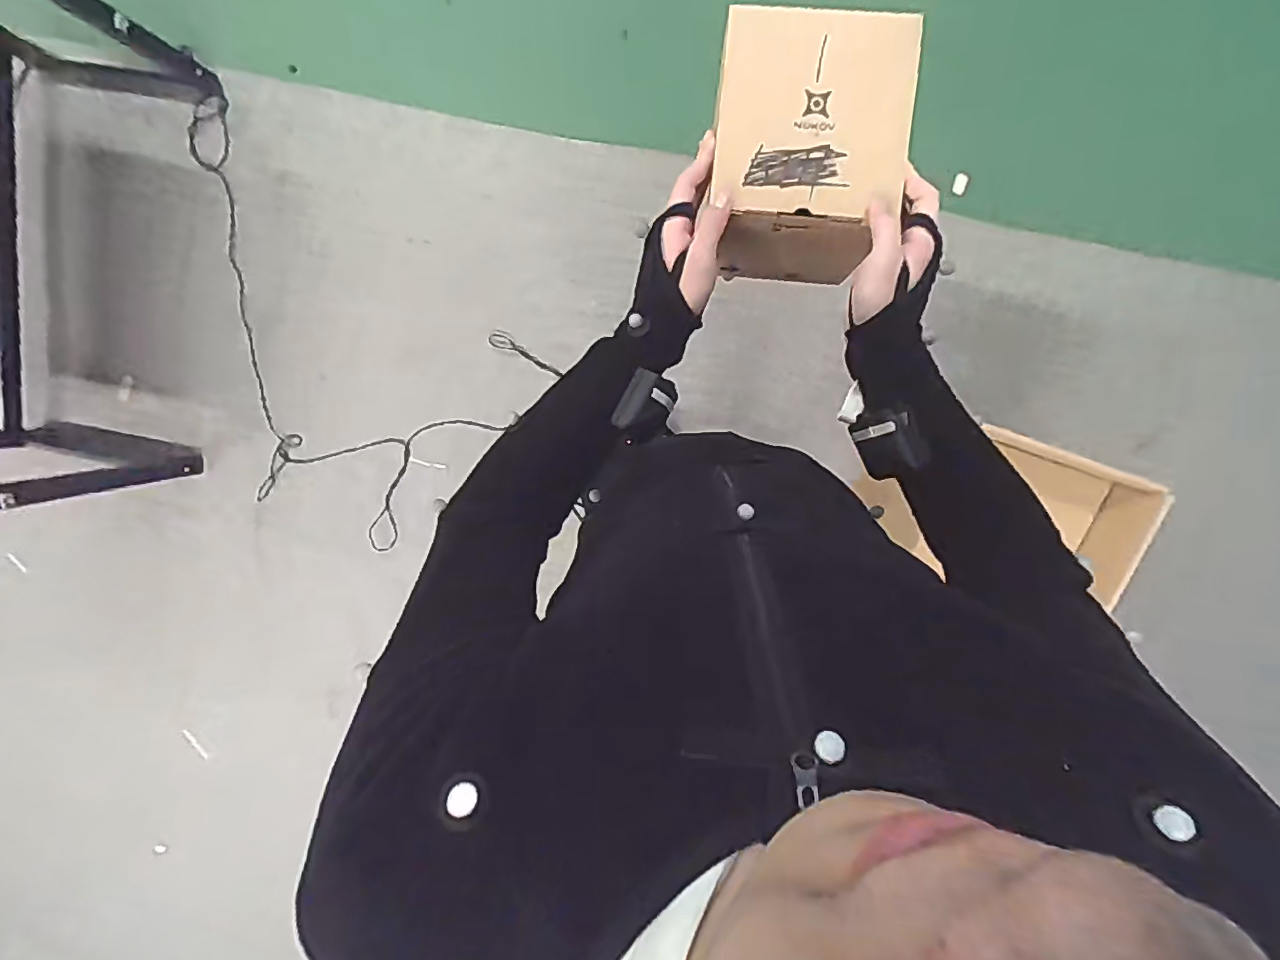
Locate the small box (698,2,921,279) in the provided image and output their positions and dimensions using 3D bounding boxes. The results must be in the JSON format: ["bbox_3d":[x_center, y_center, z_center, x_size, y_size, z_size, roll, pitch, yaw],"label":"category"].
[{"bbox_3d":[0.149,-0.314,0.536,0.168,0.176,0.179,6,92,3],"label":"small box"}]
